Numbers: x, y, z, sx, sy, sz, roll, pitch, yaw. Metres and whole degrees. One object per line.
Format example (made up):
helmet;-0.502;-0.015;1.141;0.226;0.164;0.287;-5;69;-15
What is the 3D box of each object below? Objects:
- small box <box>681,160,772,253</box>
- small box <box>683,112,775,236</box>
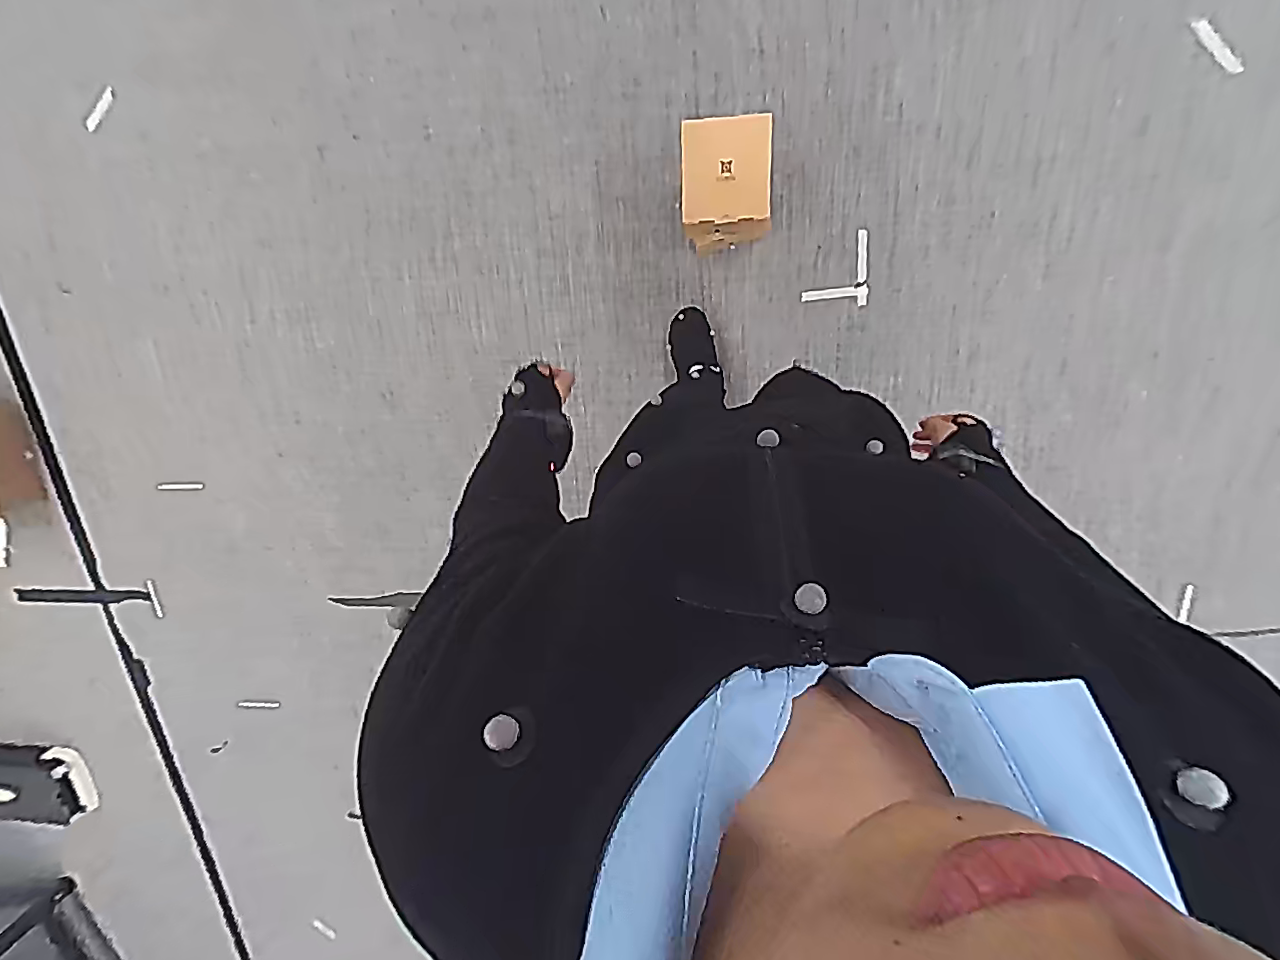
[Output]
small box;0.192;-0.635;1.226;0.168;0.176;0.179;-13;105;10
small box;0.169;-0.594;1.070;0.168;0.176;0.179;-1;107;6
